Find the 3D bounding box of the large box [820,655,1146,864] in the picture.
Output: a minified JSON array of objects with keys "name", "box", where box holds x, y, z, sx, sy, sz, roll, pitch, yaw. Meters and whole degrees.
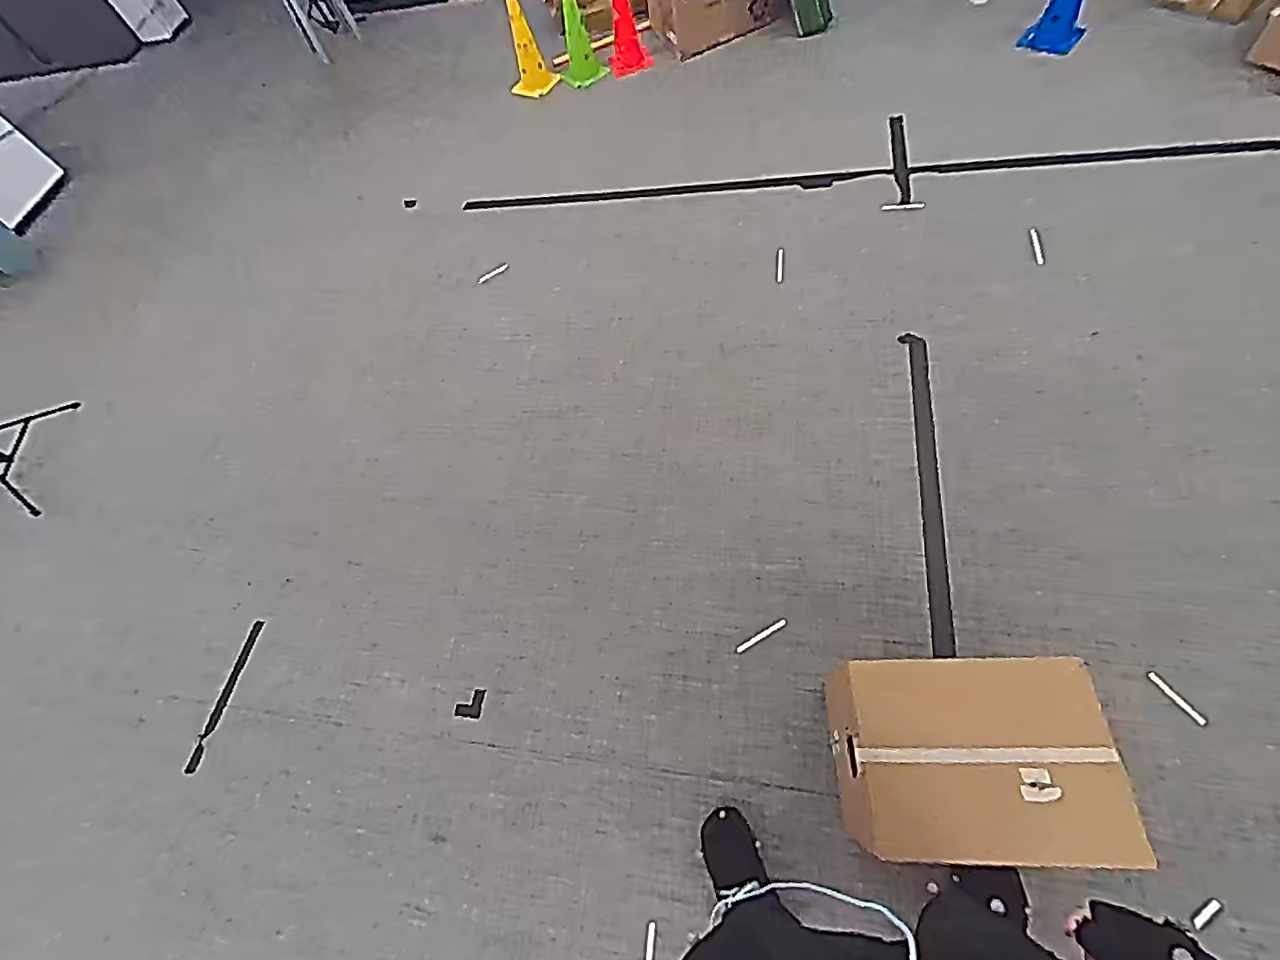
[{"name":"large box","box":[0.595,0.527,1.042,0.408,0.320,0.320,-4,64,8]}]
